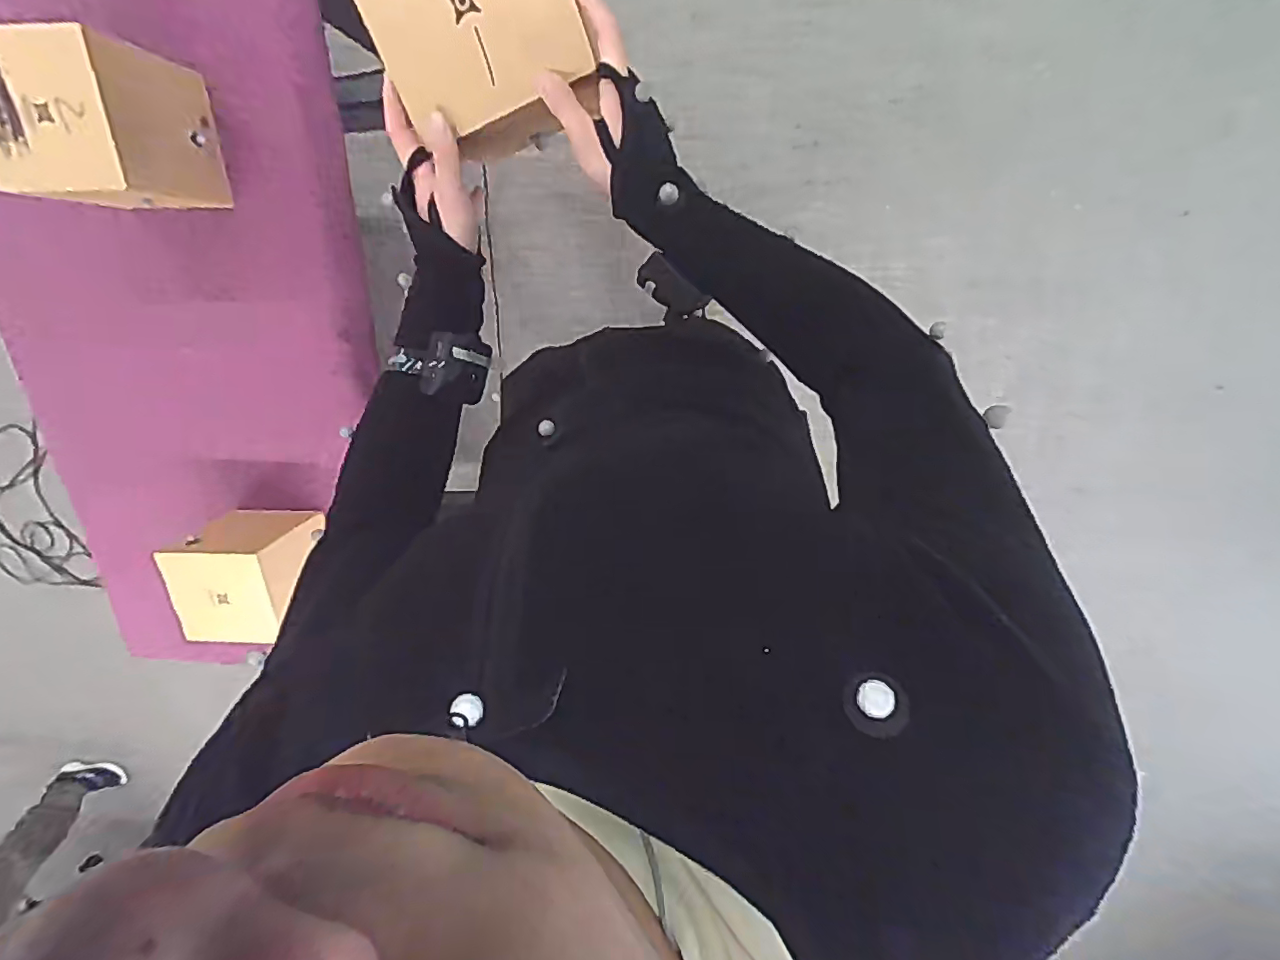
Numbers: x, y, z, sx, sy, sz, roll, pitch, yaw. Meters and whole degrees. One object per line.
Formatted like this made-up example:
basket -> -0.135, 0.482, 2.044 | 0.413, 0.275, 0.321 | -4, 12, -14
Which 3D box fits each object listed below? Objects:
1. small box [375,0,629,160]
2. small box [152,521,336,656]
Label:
small box -> -0.117, -0.412, 0.482 | 0.168, 0.176, 0.179 | -16, 115, 13
small box -> -0.647, 0.176, 0.914 | 0.179, 0.176, 0.168 | -1, 109, 6
